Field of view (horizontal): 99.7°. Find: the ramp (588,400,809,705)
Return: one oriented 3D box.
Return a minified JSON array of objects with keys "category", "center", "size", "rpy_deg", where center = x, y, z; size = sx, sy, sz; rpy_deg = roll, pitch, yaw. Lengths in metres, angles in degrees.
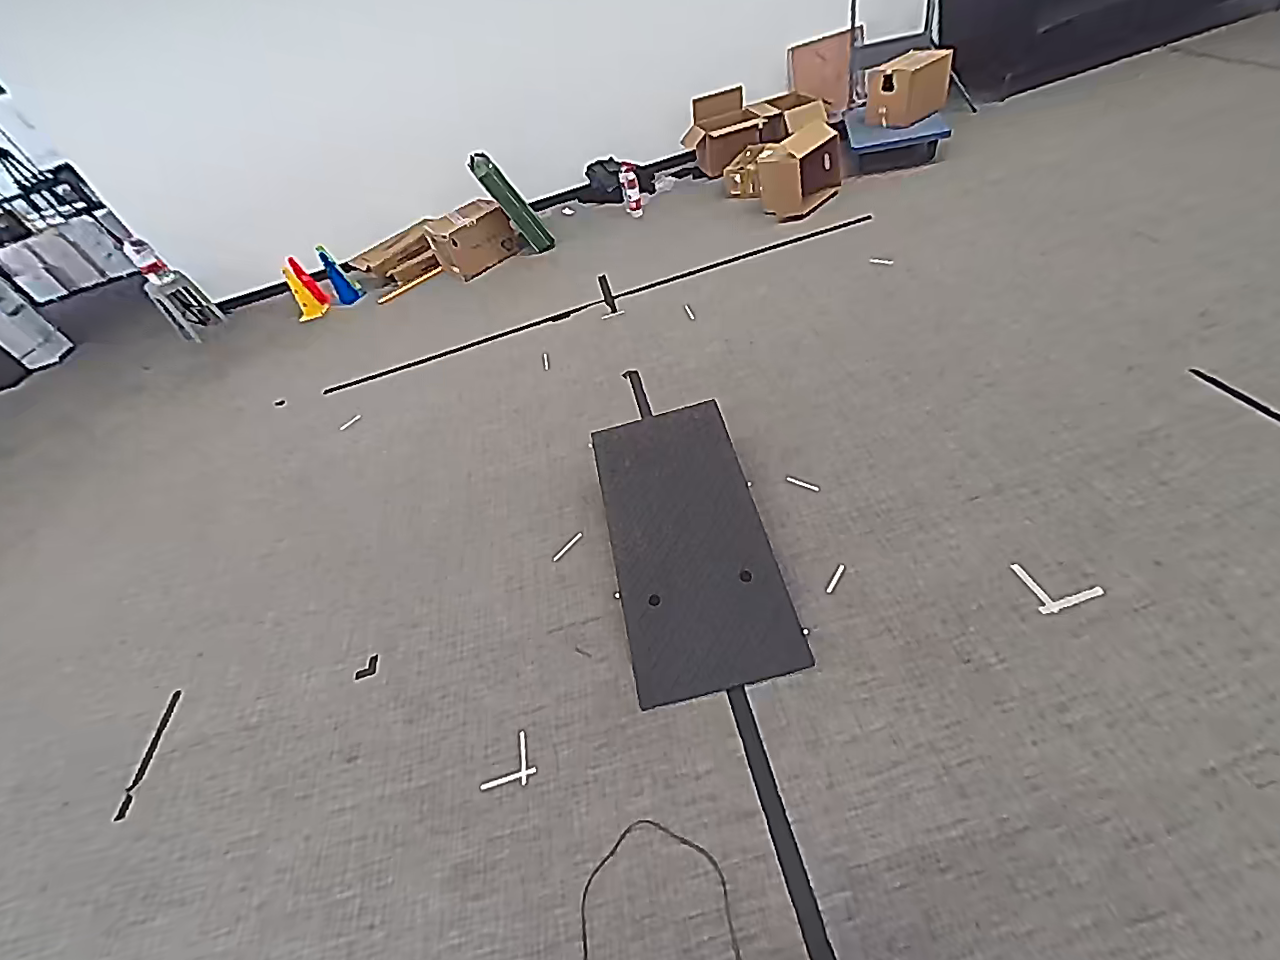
[{"category":"ramp","center":[0.137,0.162,1.757],"size":[0.509,0.206,0.991],"rpy_deg":[-16,45,1]}]
